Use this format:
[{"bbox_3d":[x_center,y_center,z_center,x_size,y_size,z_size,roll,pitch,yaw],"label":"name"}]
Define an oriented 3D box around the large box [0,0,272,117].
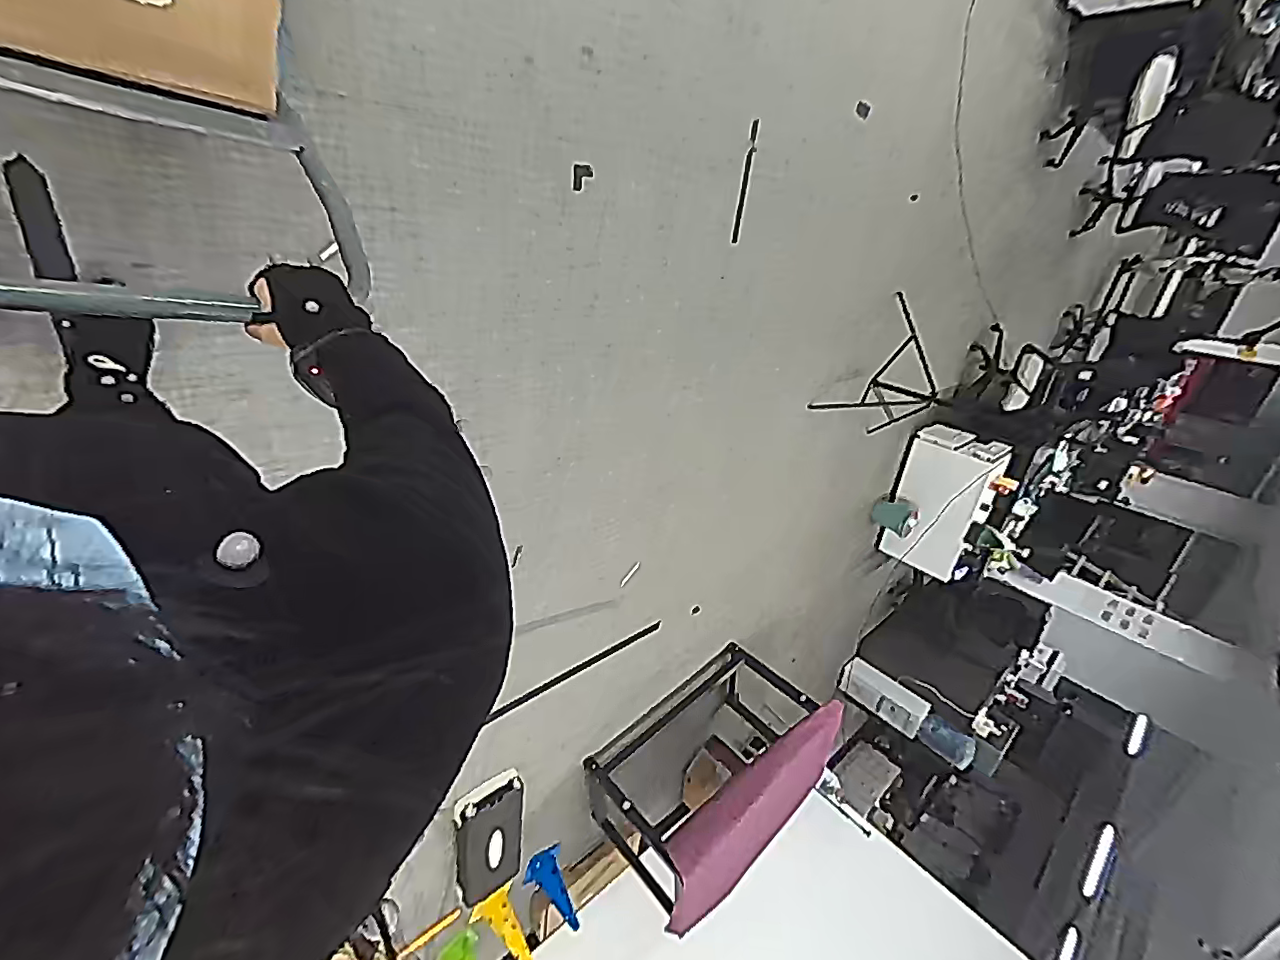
[{"bbox_3d":[-0.690,-0.686,0.607,0.408,0.320,0.320,-12,144,-42],"label":"large box"}]
